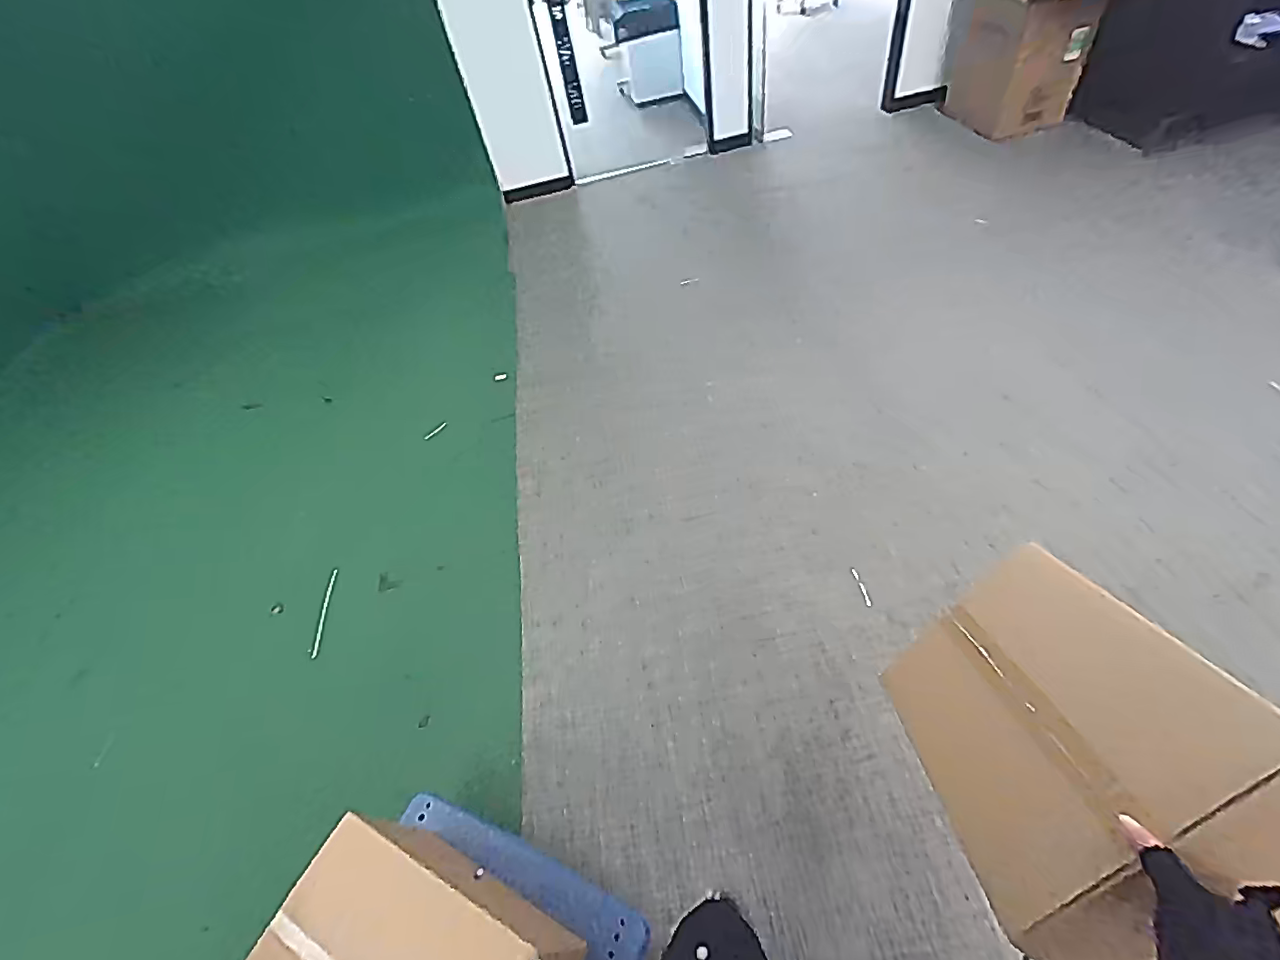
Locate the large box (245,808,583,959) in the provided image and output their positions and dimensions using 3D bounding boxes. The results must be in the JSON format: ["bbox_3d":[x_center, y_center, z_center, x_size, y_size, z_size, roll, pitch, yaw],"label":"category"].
[{"bbox_3d":[-0.363,0.810,0.881,0.408,0.320,0.320,17,57,22],"label":"large box"}]
